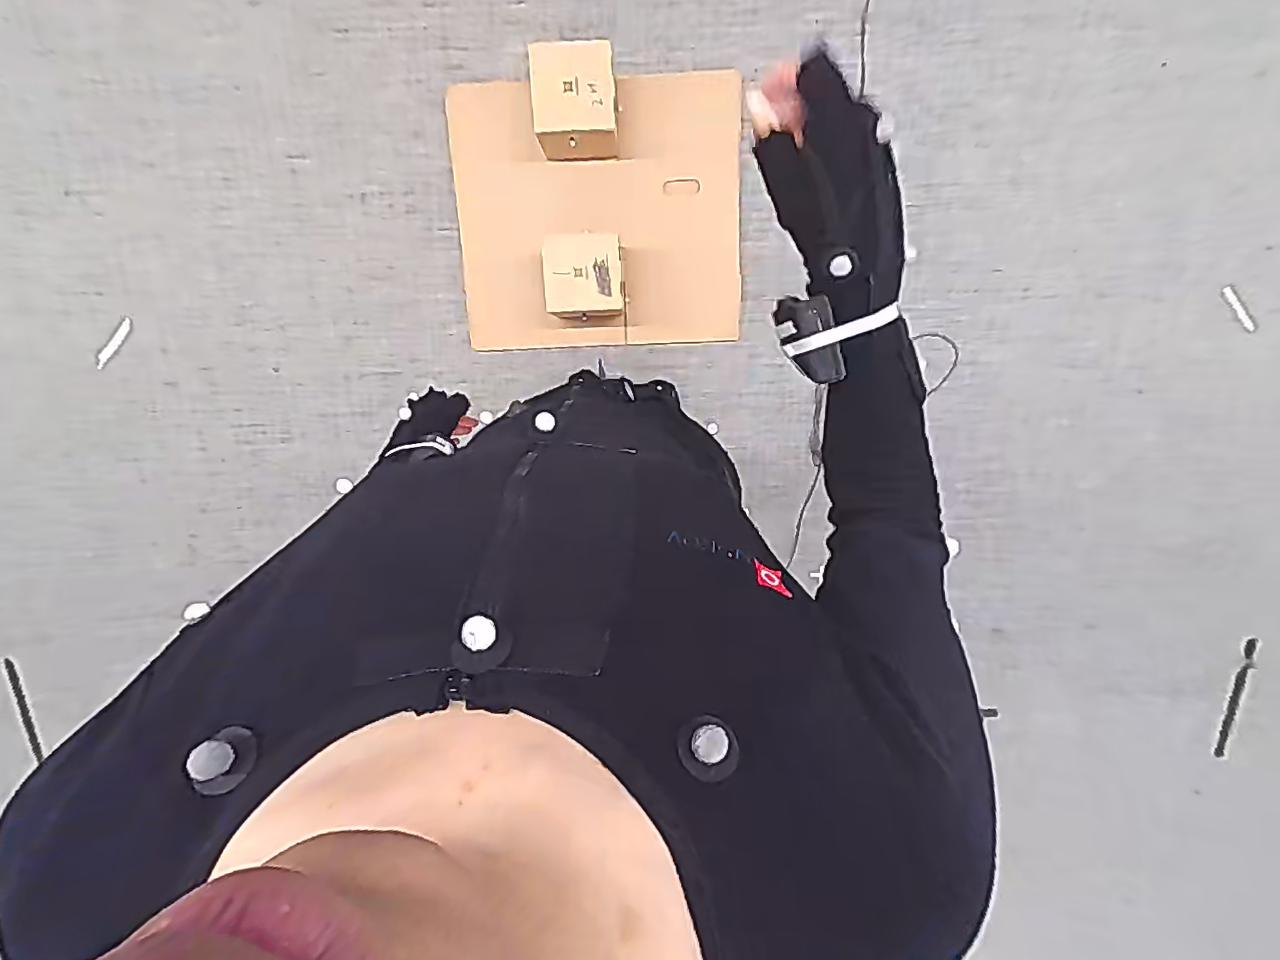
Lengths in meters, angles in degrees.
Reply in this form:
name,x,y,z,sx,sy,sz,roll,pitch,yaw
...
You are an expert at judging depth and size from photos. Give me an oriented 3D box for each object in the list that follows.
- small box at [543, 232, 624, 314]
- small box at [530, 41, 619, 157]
name,x,y,z,sx,sy,sz,roll,pitch,yaw
small box,-0.128,-0.489,1.293,0.179,0.176,0.168,-2,103,1
small box,-0.140,-0.842,1.210,0.179,0.176,0.168,-2,104,0
